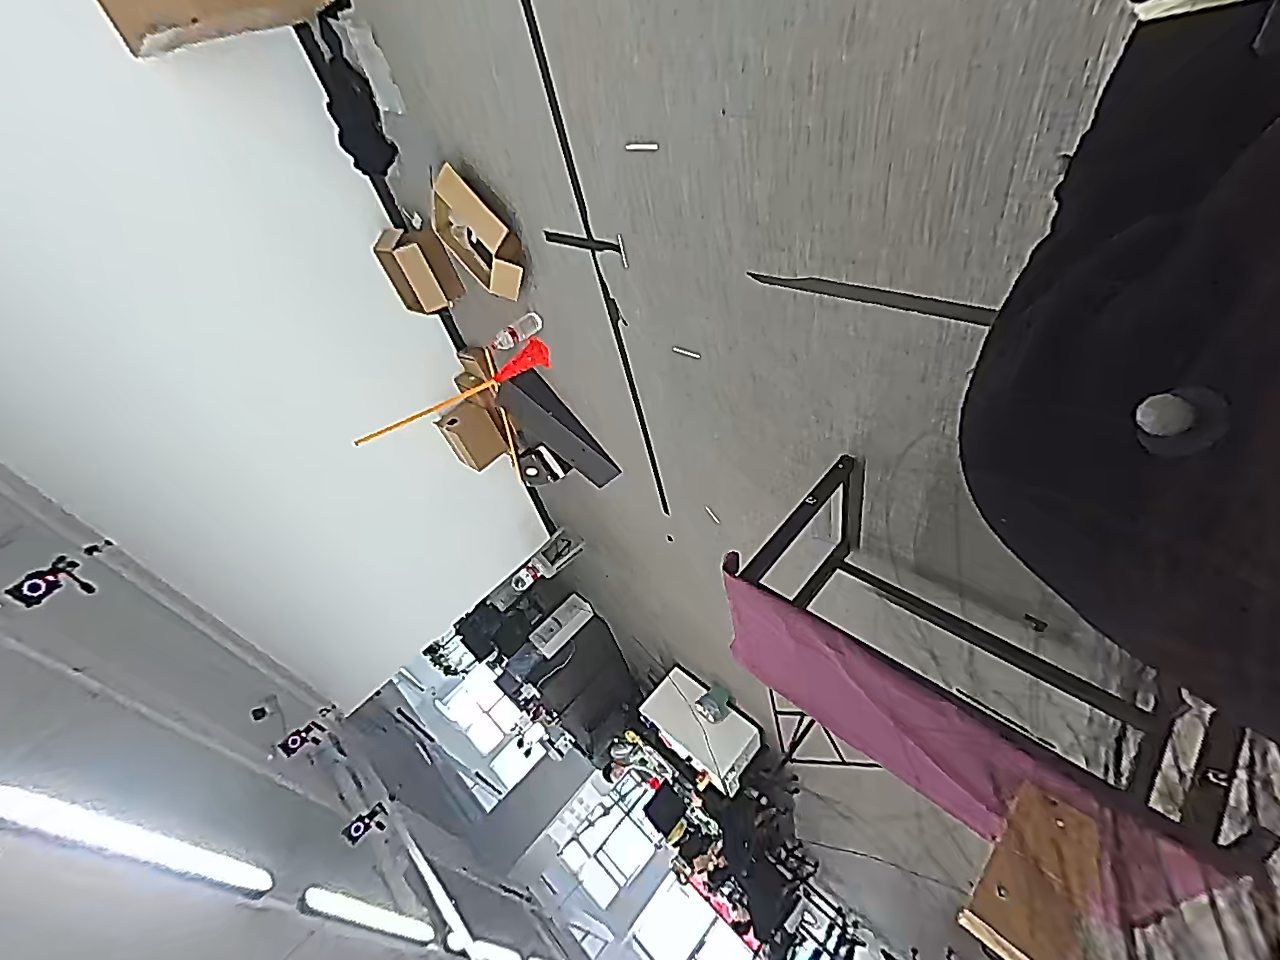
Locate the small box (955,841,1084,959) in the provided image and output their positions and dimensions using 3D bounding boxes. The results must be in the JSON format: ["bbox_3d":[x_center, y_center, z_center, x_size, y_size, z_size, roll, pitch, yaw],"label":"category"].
[{"bbox_3d":[0.832,0.938,1.195,0.179,0.176,0.168,24,148,40],"label":"small box"}]

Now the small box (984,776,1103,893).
[{"bbox_3d":[0.939,0.837,1.263,0.168,0.176,0.179,25,147,39],"label":"small box"}]
